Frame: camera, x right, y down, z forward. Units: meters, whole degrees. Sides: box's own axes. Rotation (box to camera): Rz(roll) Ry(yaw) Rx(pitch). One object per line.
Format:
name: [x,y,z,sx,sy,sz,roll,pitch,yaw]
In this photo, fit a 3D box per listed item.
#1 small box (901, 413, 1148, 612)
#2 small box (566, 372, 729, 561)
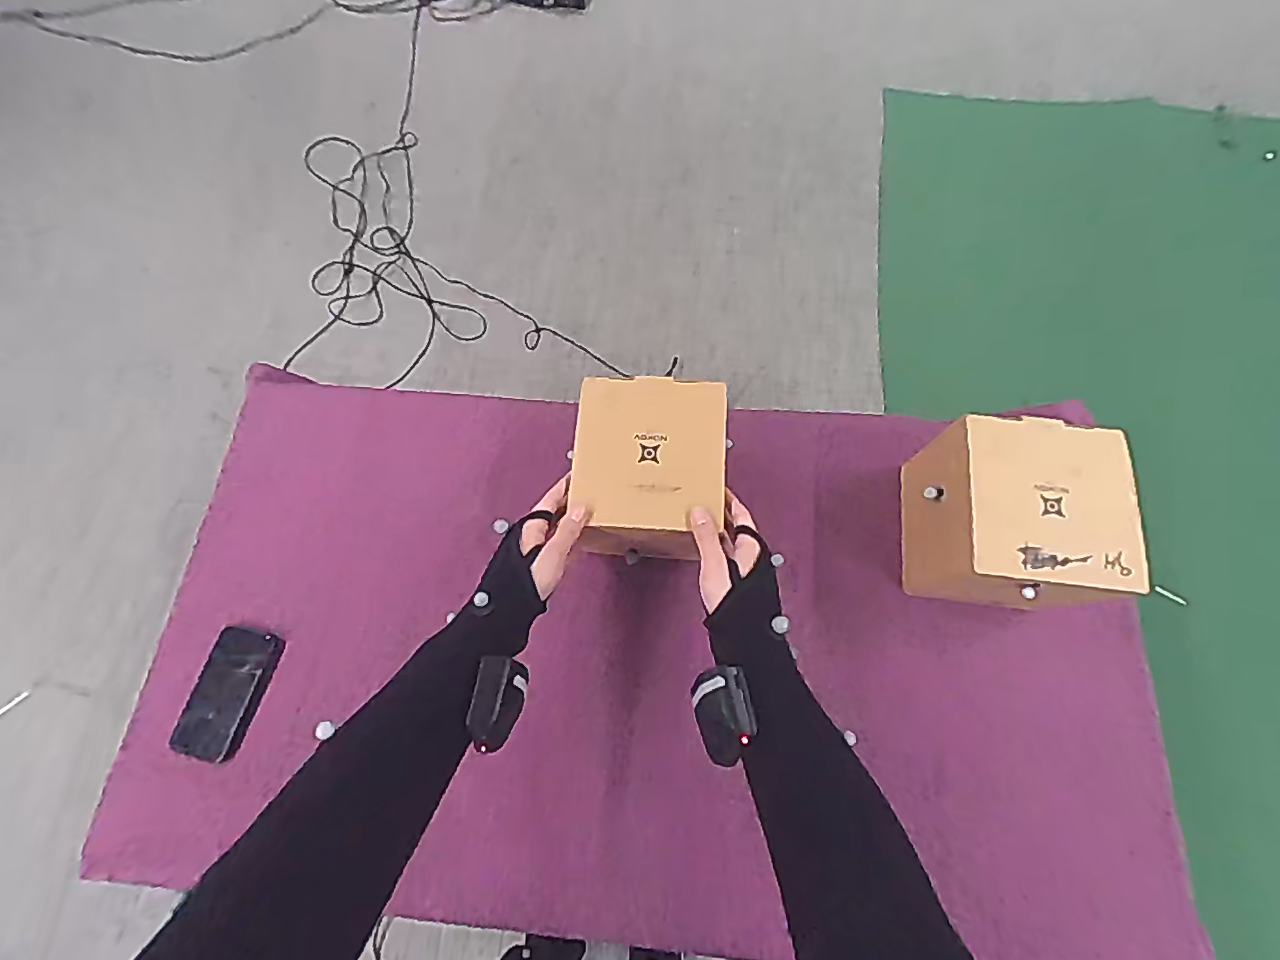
small box: [0.418,0.045,0.625,0.168,0.176,0.179,7,70,5]
small box: [0.012,-0.009,0.656,0.168,0.176,0.179,4,72,3]
